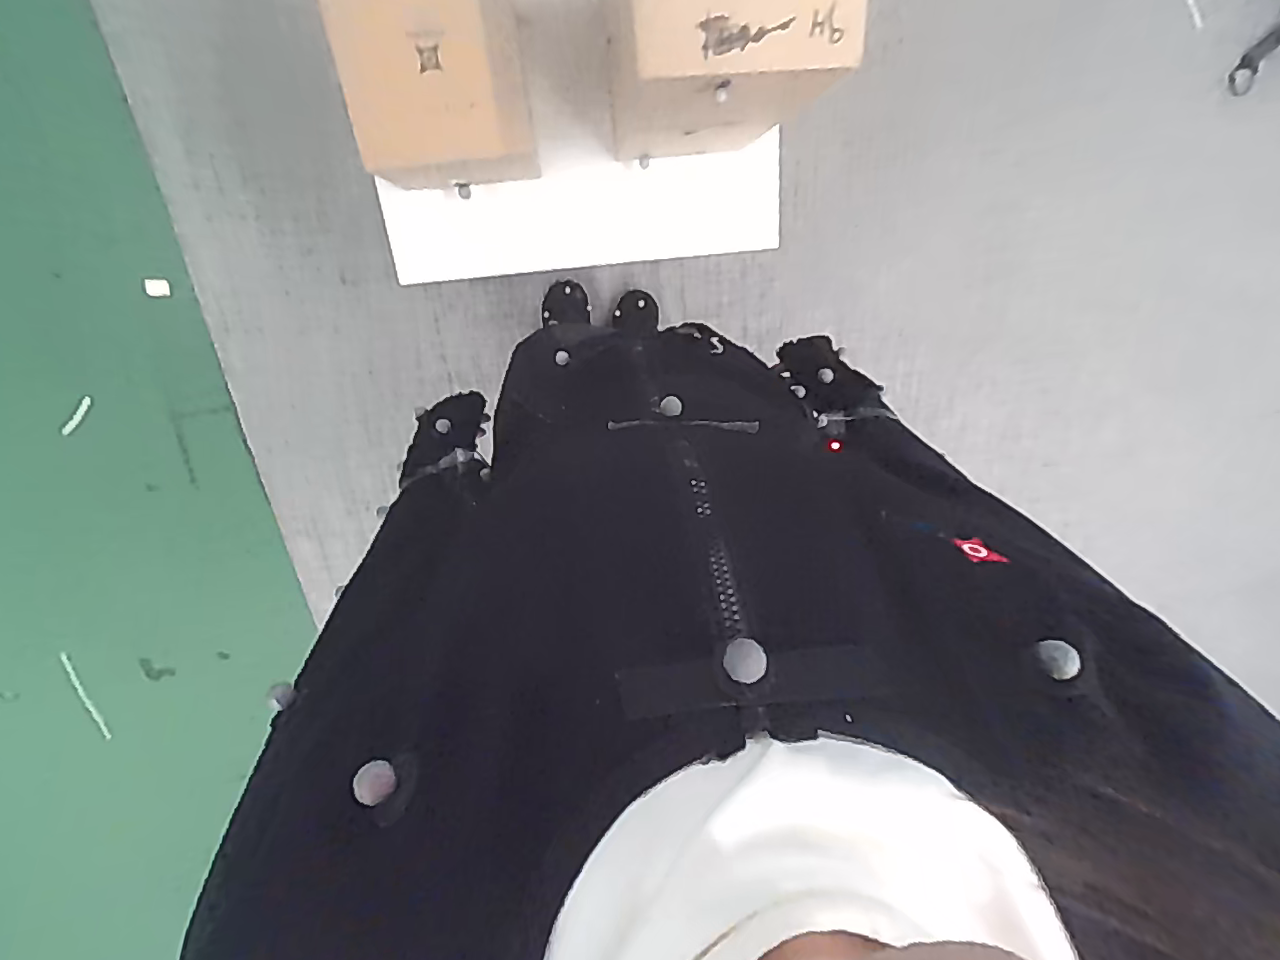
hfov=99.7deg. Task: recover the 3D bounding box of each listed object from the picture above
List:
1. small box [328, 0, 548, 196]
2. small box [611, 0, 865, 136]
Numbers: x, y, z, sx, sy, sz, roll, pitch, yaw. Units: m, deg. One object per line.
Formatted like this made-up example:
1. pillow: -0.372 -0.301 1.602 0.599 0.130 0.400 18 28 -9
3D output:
1. small box: -0.196 -0.416 0.572 0.168 0.176 0.179 -10 113 -2
2. small box: 0.064 -0.398 0.429 0.168 0.176 0.179 -7 111 -3
